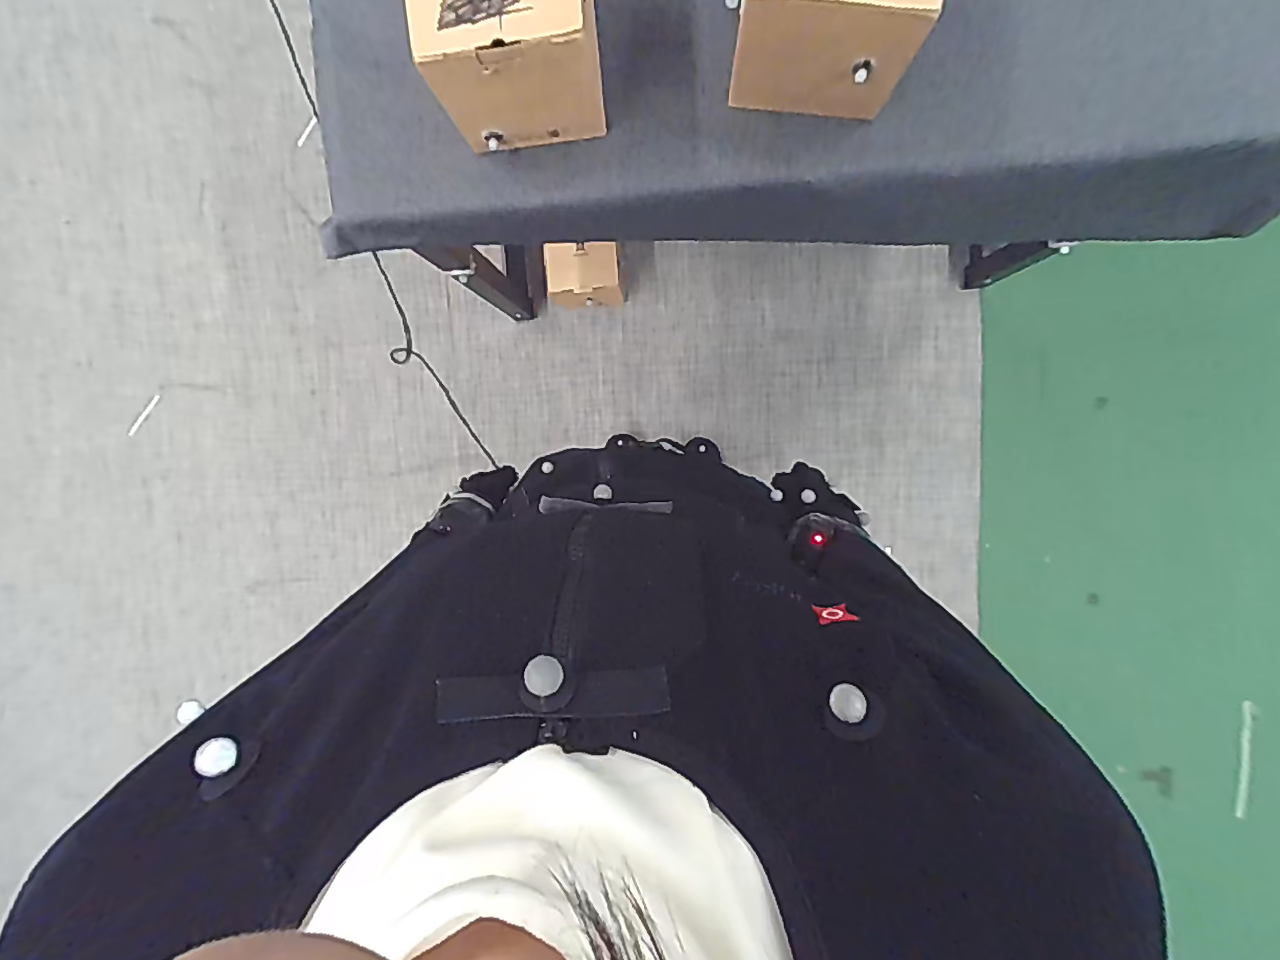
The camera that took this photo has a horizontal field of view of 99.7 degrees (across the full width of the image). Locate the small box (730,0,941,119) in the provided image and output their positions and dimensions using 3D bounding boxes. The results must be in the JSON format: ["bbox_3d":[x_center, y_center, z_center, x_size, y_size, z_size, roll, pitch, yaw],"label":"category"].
[{"bbox_3d":[0.198,-0.510,0.561,0.179,0.176,0.168,8,95,3],"label":"small box"}]

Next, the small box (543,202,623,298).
[{"bbox_3d":[-0.132,-0.545,1.308,0.168,0.176,0.179,-3,96,3],"label":"small box"}]

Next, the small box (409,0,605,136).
[{"bbox_3d":[-0.132,-0.498,0.576,0.168,0.176,0.179,-4,94,3],"label":"small box"}]
